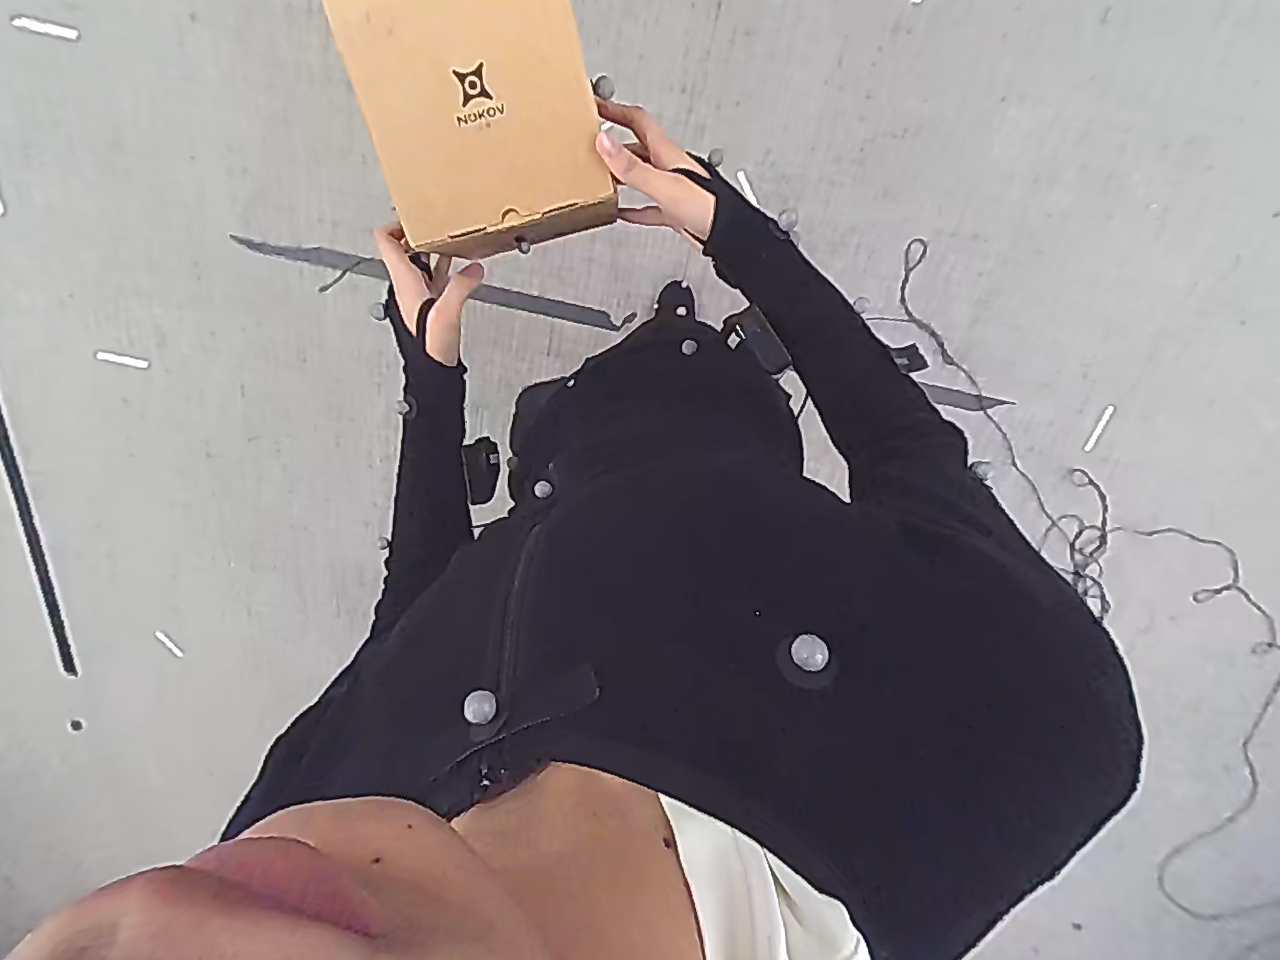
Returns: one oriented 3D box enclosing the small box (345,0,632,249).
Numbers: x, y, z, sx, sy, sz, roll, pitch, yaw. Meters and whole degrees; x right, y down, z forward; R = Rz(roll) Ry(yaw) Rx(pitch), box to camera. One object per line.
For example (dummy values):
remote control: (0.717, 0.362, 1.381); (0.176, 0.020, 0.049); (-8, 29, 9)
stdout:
small box: (-0.108, -0.308, 0.456); (0.168, 0.176, 0.179); (-14, 111, 3)
